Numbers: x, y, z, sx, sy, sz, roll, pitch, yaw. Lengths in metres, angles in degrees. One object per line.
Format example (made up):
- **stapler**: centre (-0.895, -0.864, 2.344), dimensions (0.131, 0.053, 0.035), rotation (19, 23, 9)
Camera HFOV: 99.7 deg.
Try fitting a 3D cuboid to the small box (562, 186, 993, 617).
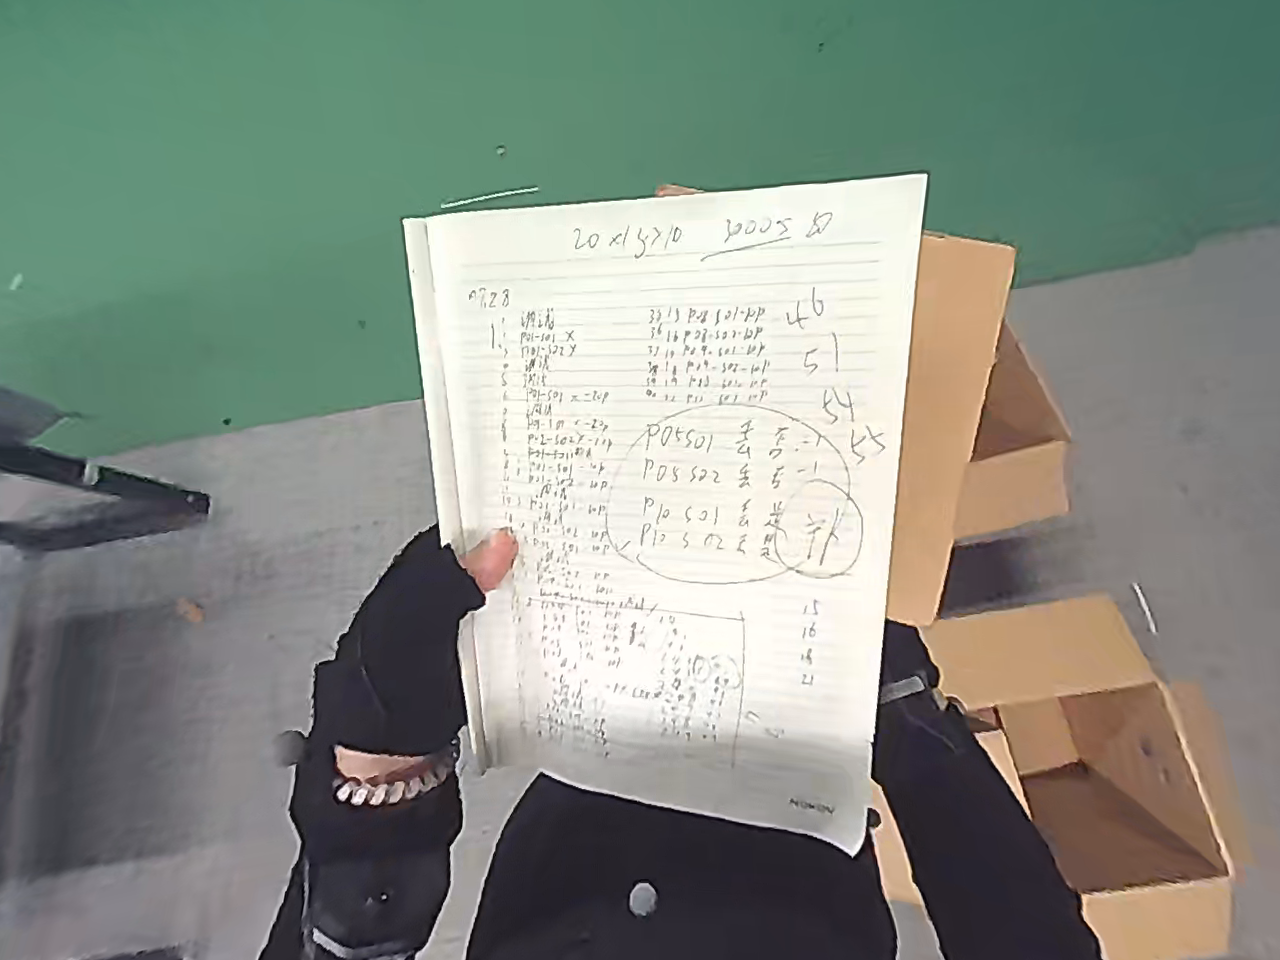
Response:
- **small box**: centre (0.070, -0.035, 0.328), dimensions (0.168, 0.176, 0.179), rotation (13, 86, 7)
